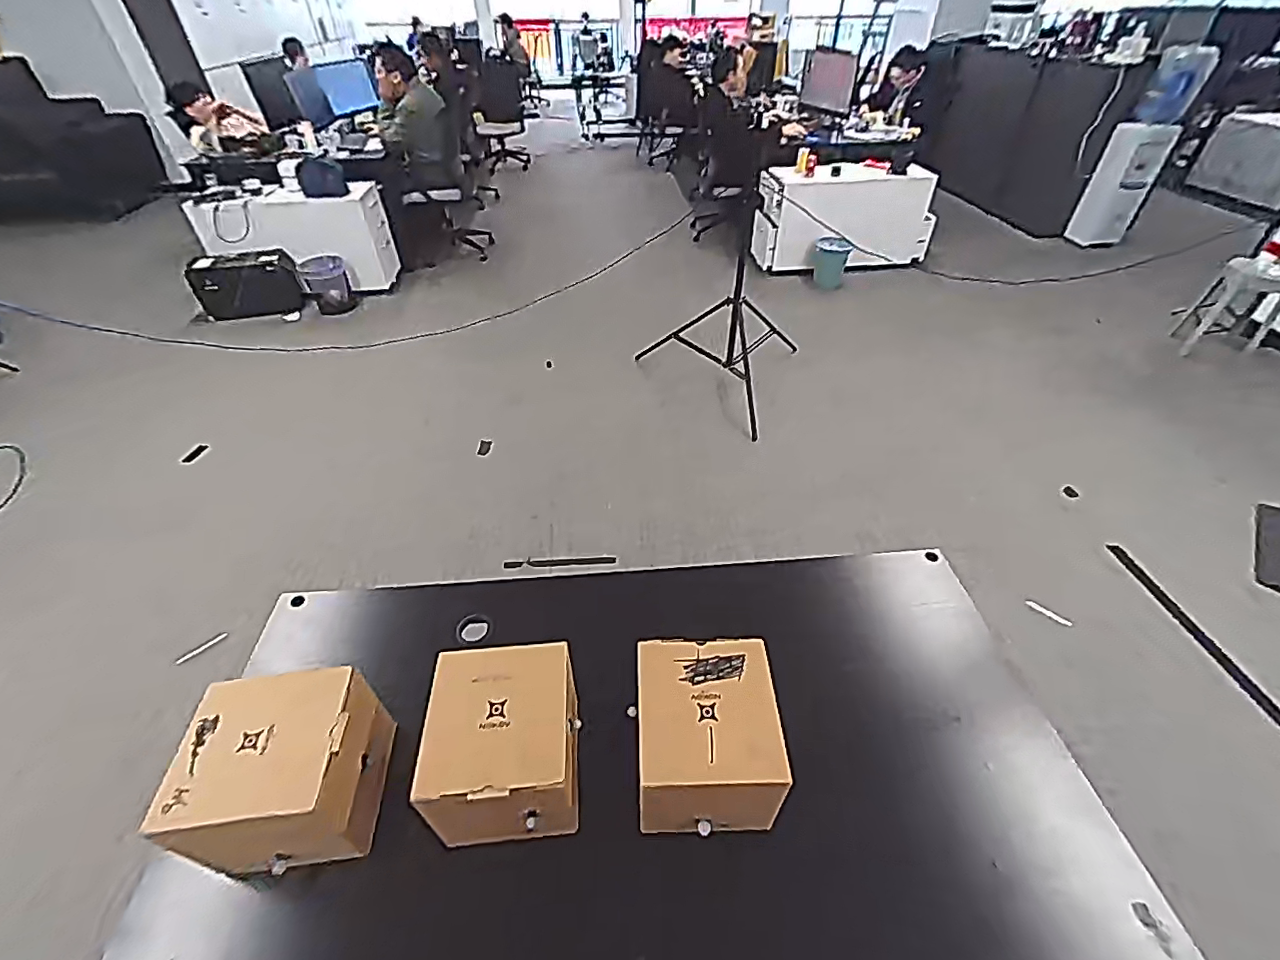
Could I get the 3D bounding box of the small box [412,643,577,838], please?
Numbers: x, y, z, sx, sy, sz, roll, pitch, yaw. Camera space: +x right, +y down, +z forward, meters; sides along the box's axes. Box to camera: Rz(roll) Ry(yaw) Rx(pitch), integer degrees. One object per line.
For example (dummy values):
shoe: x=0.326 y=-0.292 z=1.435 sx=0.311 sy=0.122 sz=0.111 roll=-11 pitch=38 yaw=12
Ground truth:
small box: x=-0.169 y=0.335 z=0.691 sx=0.168 sy=0.176 sz=0.179 roll=-3 pitch=41 yaw=-5

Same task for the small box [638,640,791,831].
small box: x=0.081 y=0.327 z=0.696 sx=0.168 sy=0.176 sz=0.179 roll=-1 pitch=43 yaw=-1

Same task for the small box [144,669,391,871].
small box: x=-0.429 y=0.356 z=0.667 sx=0.179 sy=0.176 sz=0.168 roll=-4 pitch=42 yaw=-6
